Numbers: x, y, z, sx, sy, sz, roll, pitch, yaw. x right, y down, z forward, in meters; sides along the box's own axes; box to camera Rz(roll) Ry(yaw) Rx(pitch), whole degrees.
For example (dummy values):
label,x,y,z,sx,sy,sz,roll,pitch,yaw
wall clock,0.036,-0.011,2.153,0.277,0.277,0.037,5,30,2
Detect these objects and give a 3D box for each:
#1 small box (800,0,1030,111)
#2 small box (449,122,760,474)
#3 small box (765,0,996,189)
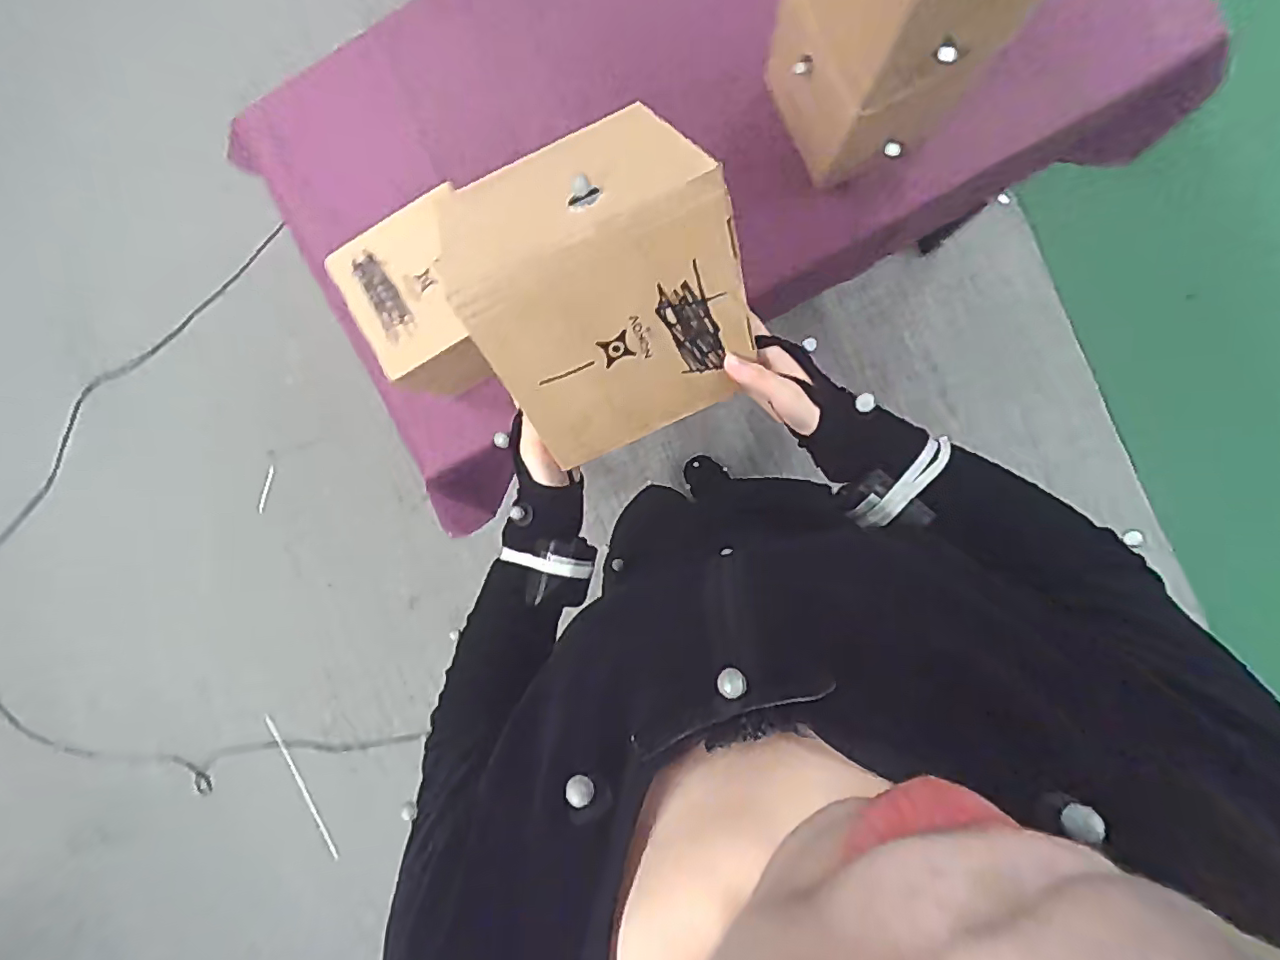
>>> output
label,x,y,z,sx,sy,sz,roll,pitch,yaw
small box,0.253,-0.487,0.480,0.168,0.176,0.179,-25,91,5
small box,-0.030,-0.142,0.420,0.179,0.168,0.176,-24,48,3
small box,0.264,-0.494,0.642,0.168,0.176,0.179,-25,91,6
